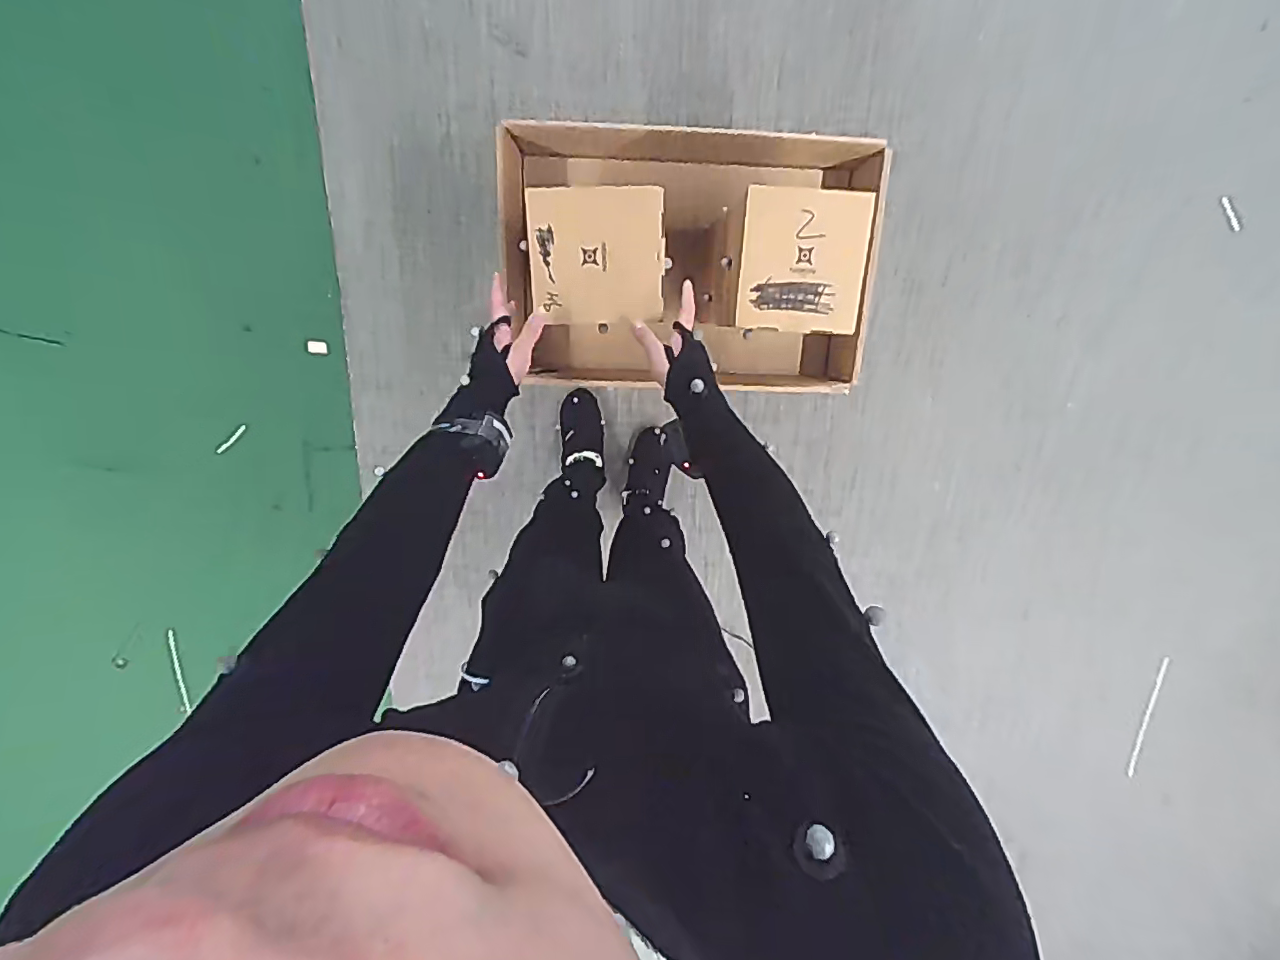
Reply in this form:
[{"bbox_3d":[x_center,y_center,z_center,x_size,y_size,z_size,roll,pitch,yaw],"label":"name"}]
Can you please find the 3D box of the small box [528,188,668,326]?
[{"bbox_3d":[-0.055,-0.308,0.771,0.179,0.176,0.168,-1,107,-1],"label":"small box"}]
